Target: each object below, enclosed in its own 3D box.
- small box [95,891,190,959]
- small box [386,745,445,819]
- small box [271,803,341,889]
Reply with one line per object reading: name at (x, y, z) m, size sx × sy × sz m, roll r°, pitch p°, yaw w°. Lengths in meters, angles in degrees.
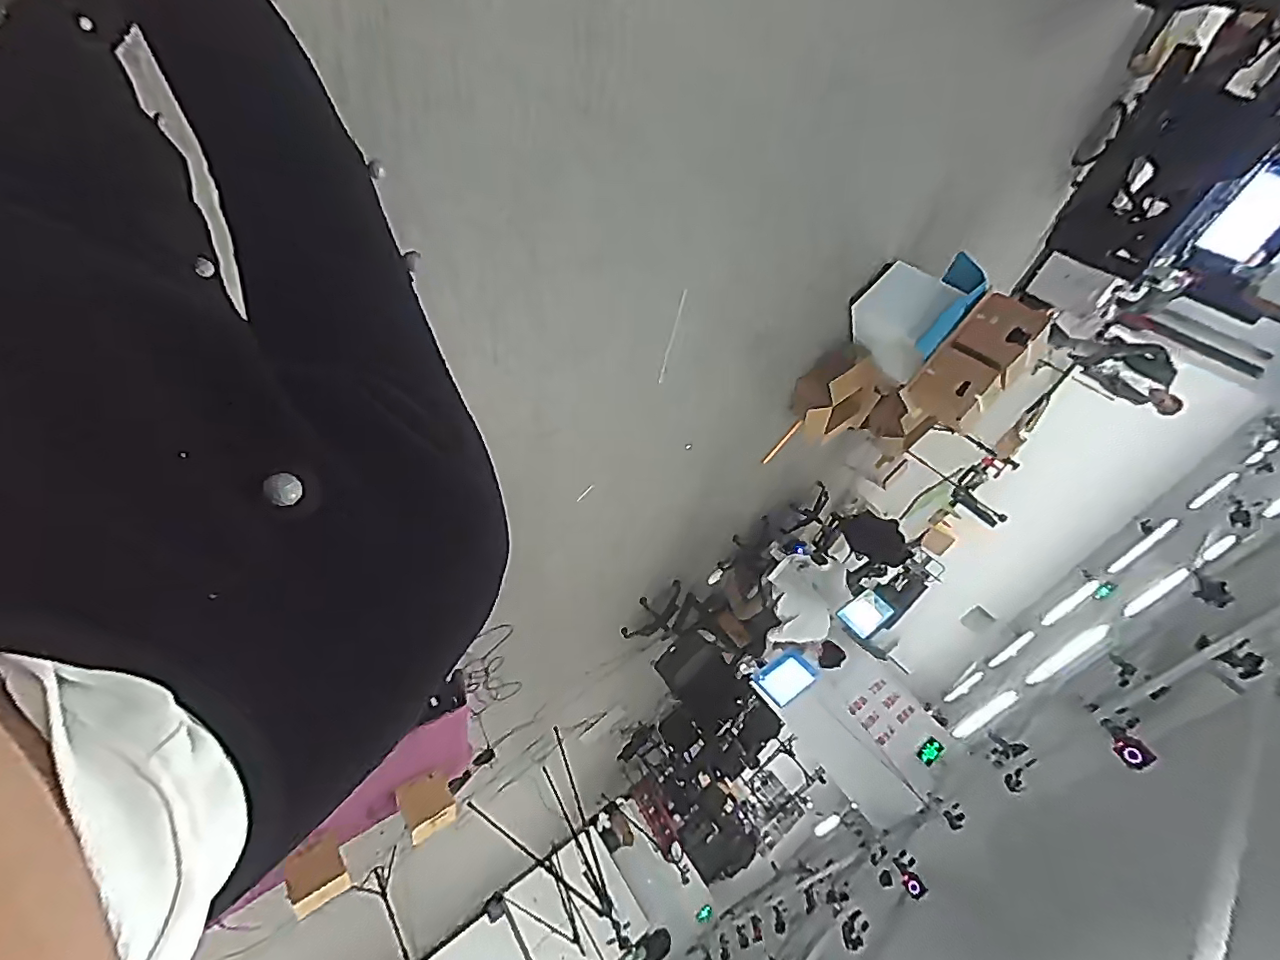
small box at (-1.499, 1.390, 1.632) m, size 0.168 × 0.176 × 0.179 m, roll -20°, pitch 145°, yaw -37°
small box at (-0.878, 1.170, 2.111) m, size 0.168 × 0.176 × 0.179 m, roll -19°, pitch 143°, yaw -36°
small box at (-1.171, 1.279, 1.898) m, size 0.168 × 0.176 × 0.179 m, roll -19°, pitch 143°, yaw -38°
